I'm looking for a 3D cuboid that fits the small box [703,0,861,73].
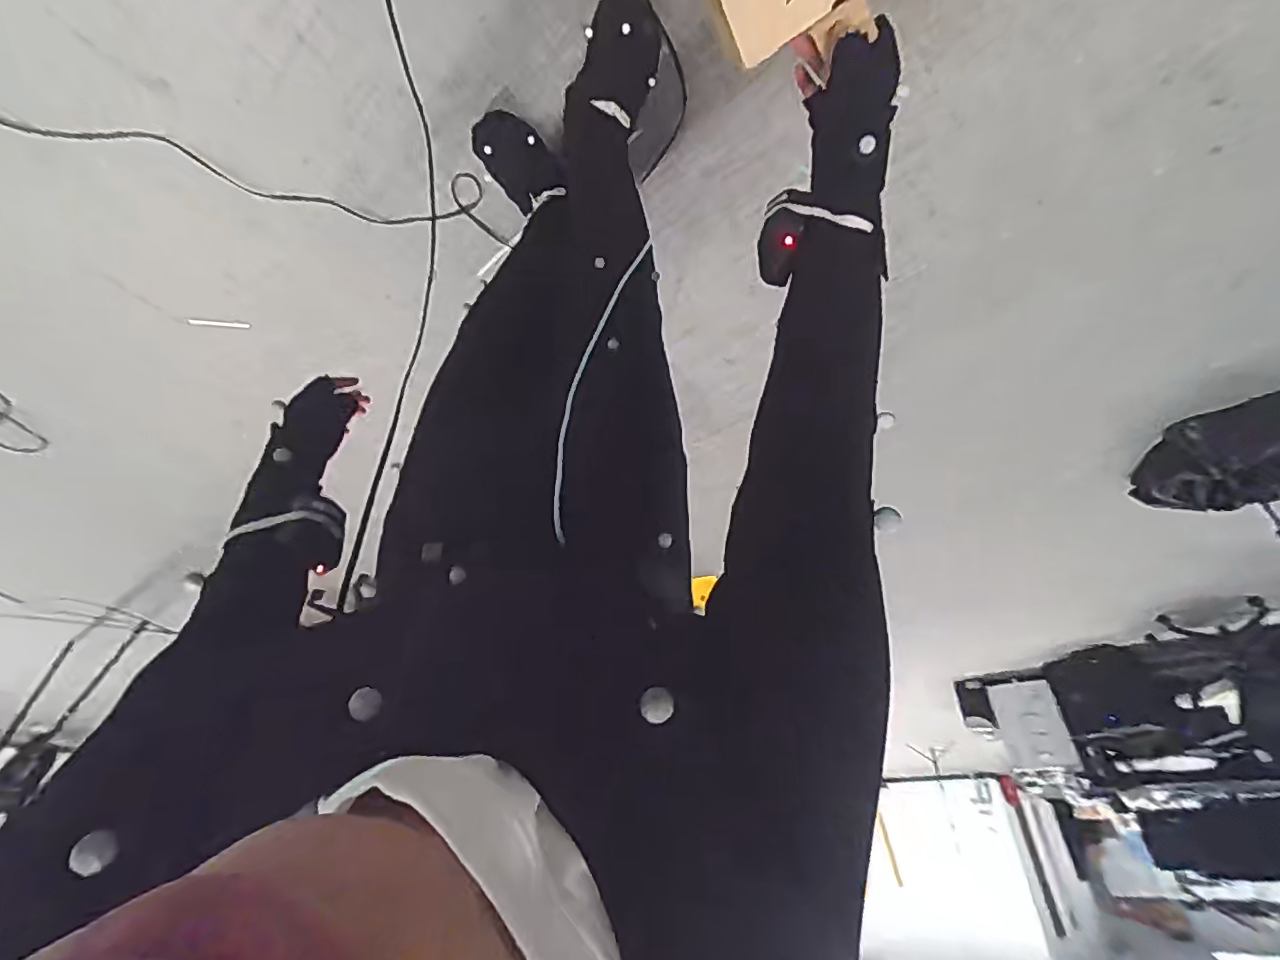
[{"bbox_3d":[0.117,-0.487,0.447,0.168,0.176,0.179,-22,130,21],"label":"small box"}]
